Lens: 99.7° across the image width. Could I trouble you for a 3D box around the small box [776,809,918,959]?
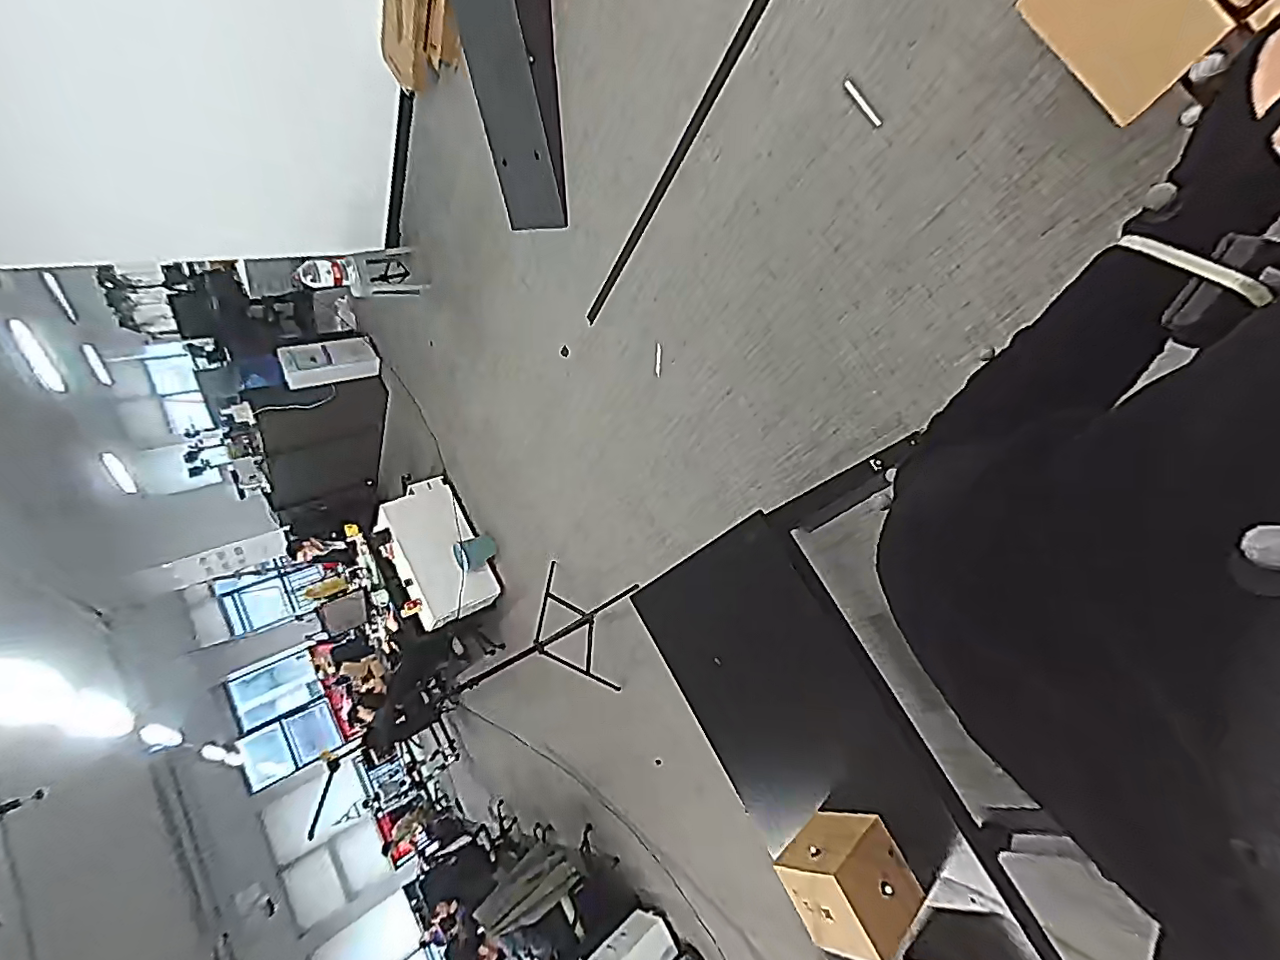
[{"bbox_3d":[0.411,0.778,1.060,0.168,0.176,0.179,61,144,12],"label":"small box"}]
